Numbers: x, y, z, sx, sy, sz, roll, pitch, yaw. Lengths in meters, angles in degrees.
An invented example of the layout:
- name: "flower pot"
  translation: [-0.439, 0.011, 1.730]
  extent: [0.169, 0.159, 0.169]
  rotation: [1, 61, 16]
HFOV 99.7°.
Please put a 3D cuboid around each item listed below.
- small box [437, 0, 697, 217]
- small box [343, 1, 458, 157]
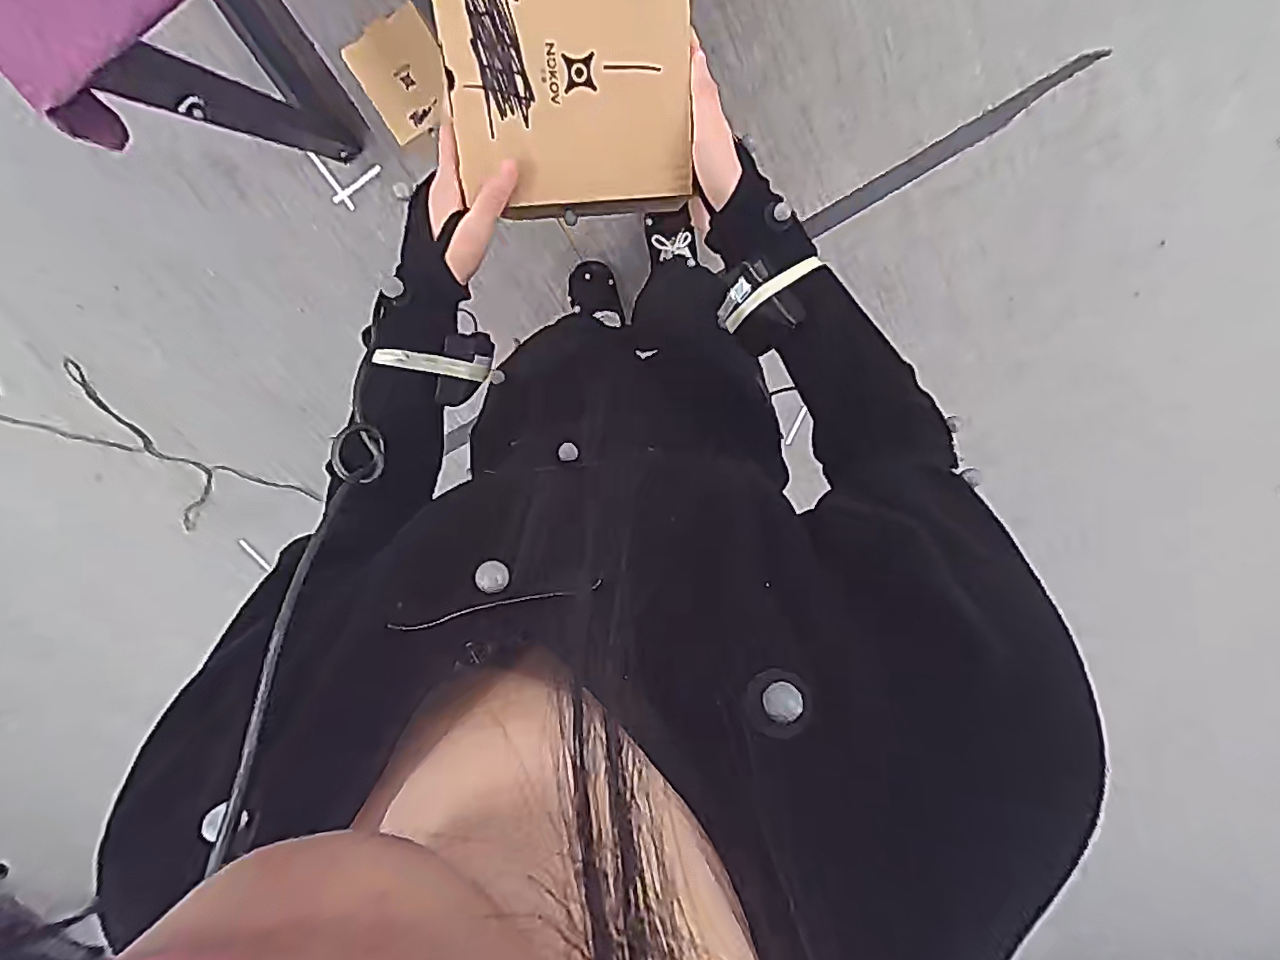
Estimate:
- name: "small box"
  translation: [-0.047, -0.316, 0.447]
  extent: [0.179, 0.176, 0.168]
  rotation: [-3, 113, 0]
- name: "small box"
  translation: [-0.442, -0.789, 1.088]
  extent: [0.168, 0.176, 0.179]
  rotation: [-28, 111, 9]
